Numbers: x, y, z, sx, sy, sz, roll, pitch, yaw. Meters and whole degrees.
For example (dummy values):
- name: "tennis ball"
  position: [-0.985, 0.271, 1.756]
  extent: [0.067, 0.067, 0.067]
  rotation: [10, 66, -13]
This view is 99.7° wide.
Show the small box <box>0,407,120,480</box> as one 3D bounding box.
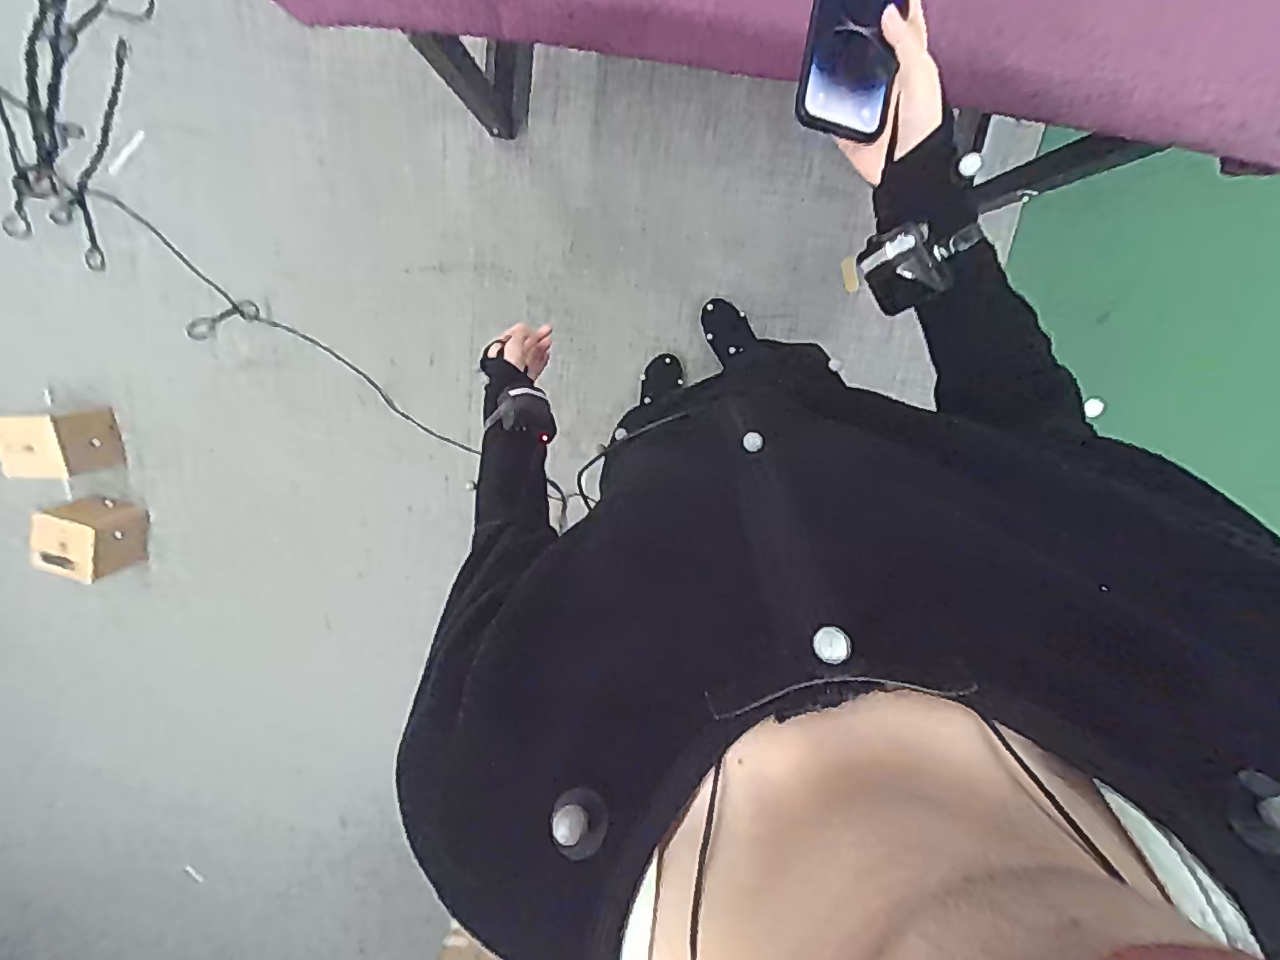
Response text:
- name: "small box"
  position: [-1.566, -0.103, 1.460]
  extent: [0.179, 0.176, 0.168]
  rotation: [1, 106, 2]
